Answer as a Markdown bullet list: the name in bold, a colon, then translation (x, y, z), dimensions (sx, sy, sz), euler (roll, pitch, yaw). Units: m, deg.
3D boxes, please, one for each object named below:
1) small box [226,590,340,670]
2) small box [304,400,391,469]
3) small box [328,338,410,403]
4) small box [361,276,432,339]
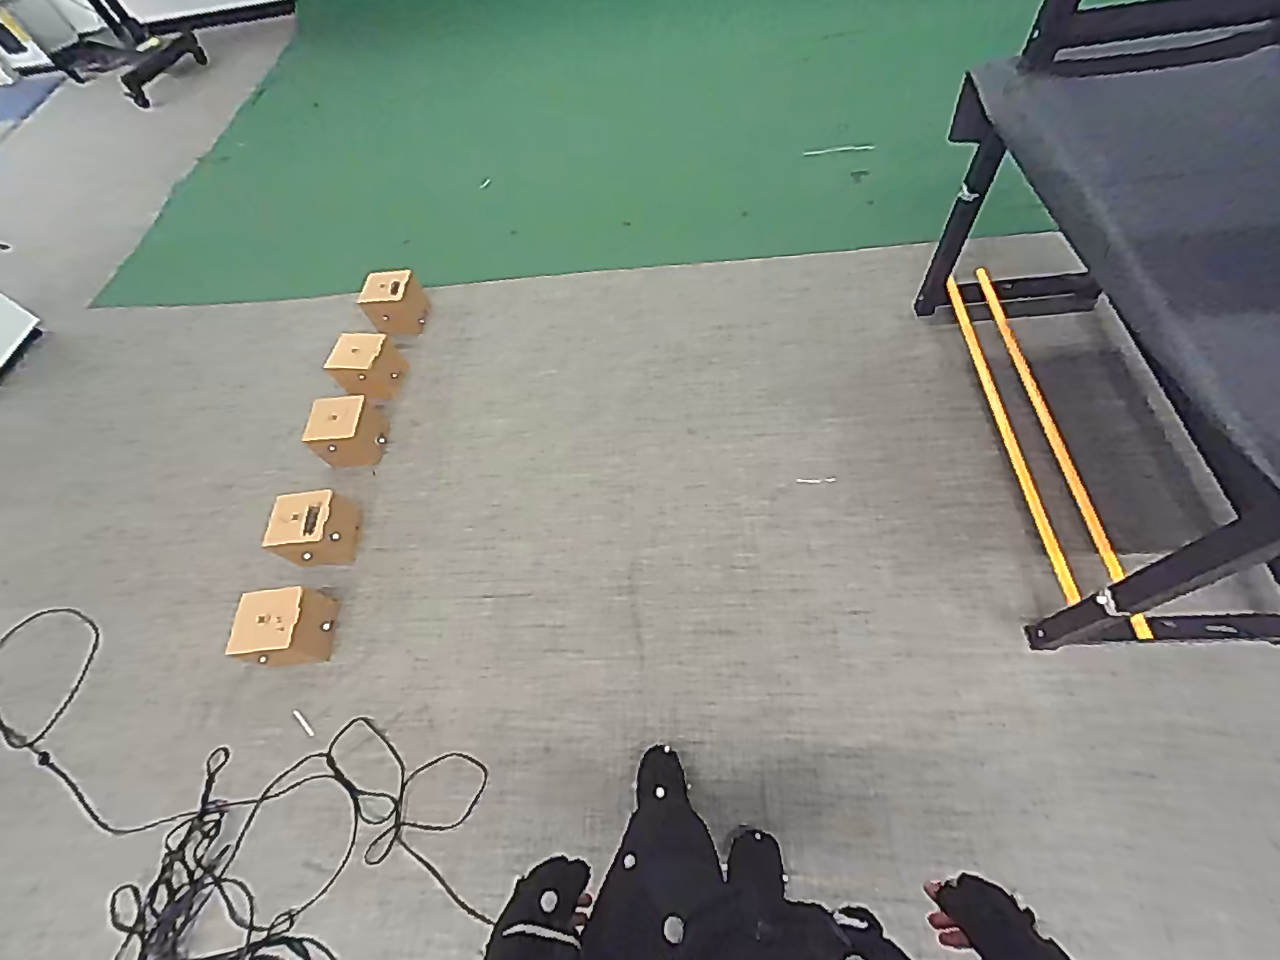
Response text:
- **small box**: translation (-0.961, 0.412, 1.471), dimensions (0.179, 0.176, 0.168), euler (-7, 60, 3)
- **small box**: translation (-0.965, -0.146, 1.800), dimensions (0.179, 0.176, 0.168), euler (-4, 61, 4)
- **small box**: translation (-0.969, -0.391, 1.946), dimensions (0.179, 0.176, 0.168), euler (4, 60, 9)
- **small box**: translation (-0.940, -0.667, 2.104), dimensions (0.179, 0.176, 0.168), euler (-1, 59, 8)
